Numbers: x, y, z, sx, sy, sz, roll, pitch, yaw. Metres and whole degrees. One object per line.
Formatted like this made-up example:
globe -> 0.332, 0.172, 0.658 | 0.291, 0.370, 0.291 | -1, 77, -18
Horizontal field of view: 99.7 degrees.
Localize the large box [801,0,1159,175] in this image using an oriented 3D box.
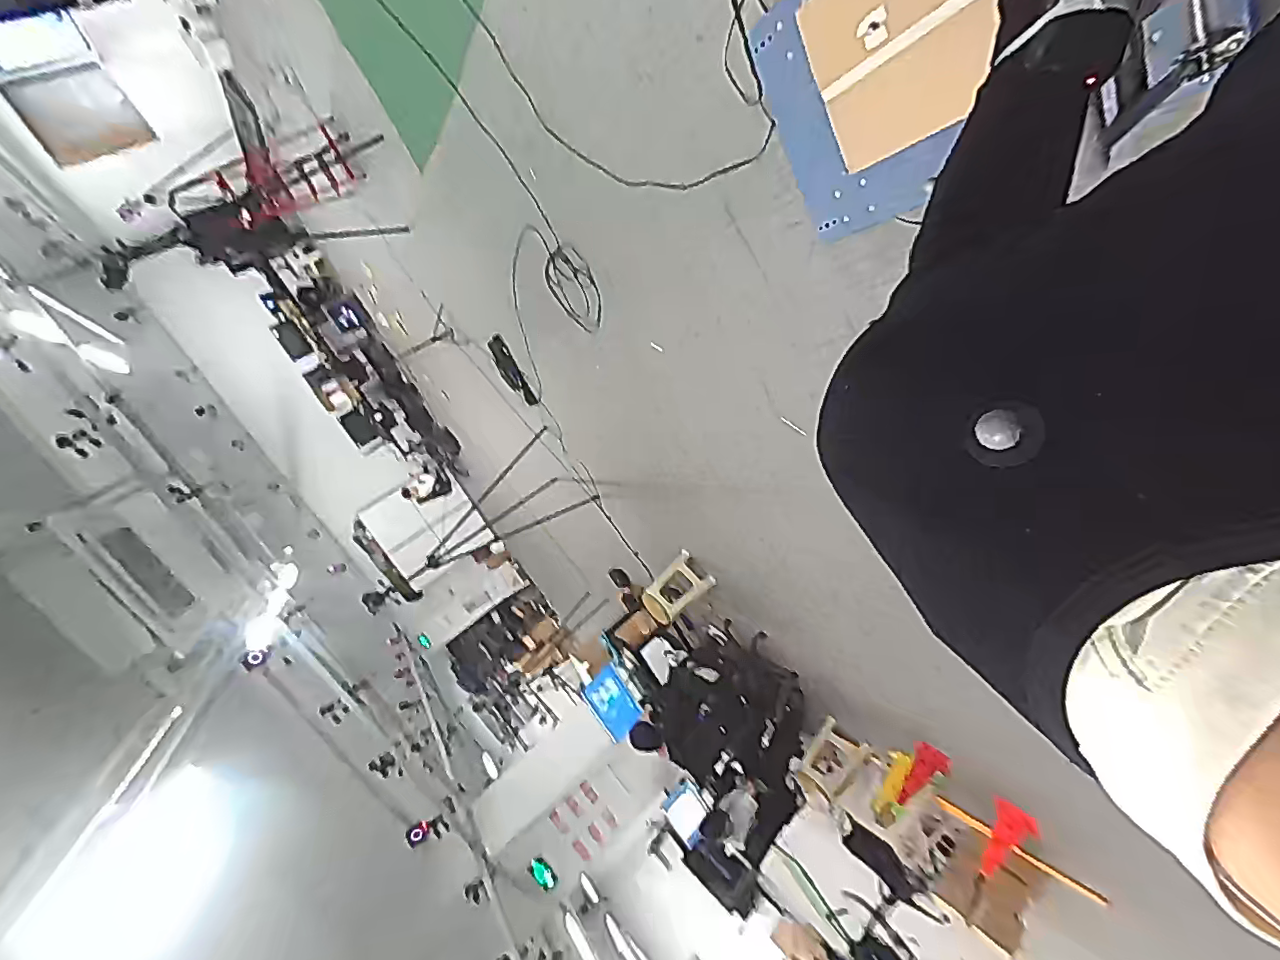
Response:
large box -> 0.581, -0.830, 0.957 | 0.408, 0.320, 0.320 | 7, 129, 60
